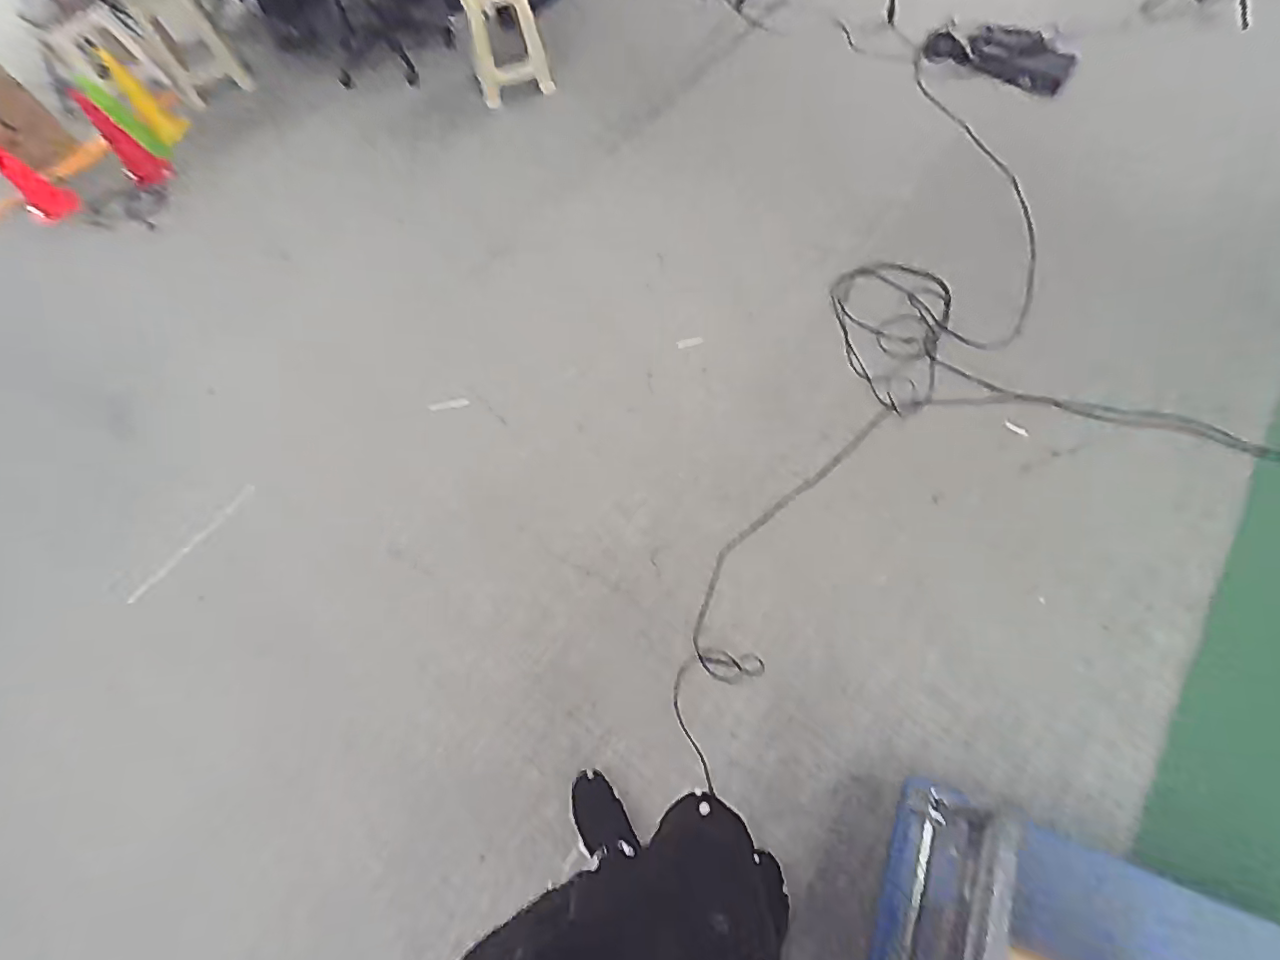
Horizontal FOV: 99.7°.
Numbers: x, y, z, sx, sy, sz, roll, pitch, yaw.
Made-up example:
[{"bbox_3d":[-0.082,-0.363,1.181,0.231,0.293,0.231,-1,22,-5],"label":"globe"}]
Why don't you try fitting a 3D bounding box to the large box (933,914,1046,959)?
[{"bbox_3d":[0.694,0.959,0.827,0.408,0.320,0.320,16,66,20],"label":"large box"}]
